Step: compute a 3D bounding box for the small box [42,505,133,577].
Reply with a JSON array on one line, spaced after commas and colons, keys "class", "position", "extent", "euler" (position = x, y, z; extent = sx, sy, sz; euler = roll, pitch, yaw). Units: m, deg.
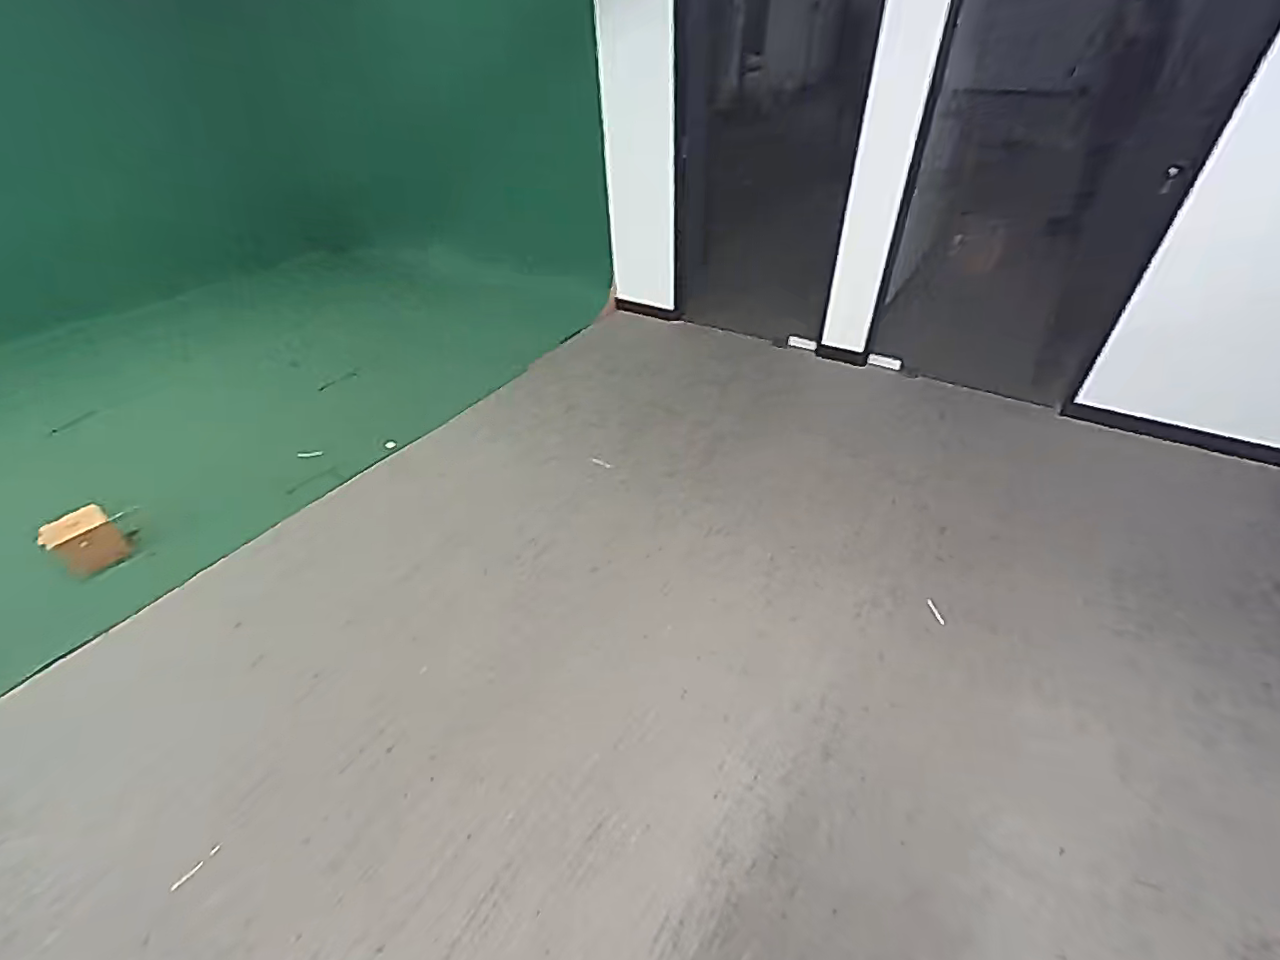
[{"class": "small box", "position": [-2.090, 0.232, 2.056], "extent": [0.168, 0.176, 0.179], "euler": [26, 48, 29]}]
